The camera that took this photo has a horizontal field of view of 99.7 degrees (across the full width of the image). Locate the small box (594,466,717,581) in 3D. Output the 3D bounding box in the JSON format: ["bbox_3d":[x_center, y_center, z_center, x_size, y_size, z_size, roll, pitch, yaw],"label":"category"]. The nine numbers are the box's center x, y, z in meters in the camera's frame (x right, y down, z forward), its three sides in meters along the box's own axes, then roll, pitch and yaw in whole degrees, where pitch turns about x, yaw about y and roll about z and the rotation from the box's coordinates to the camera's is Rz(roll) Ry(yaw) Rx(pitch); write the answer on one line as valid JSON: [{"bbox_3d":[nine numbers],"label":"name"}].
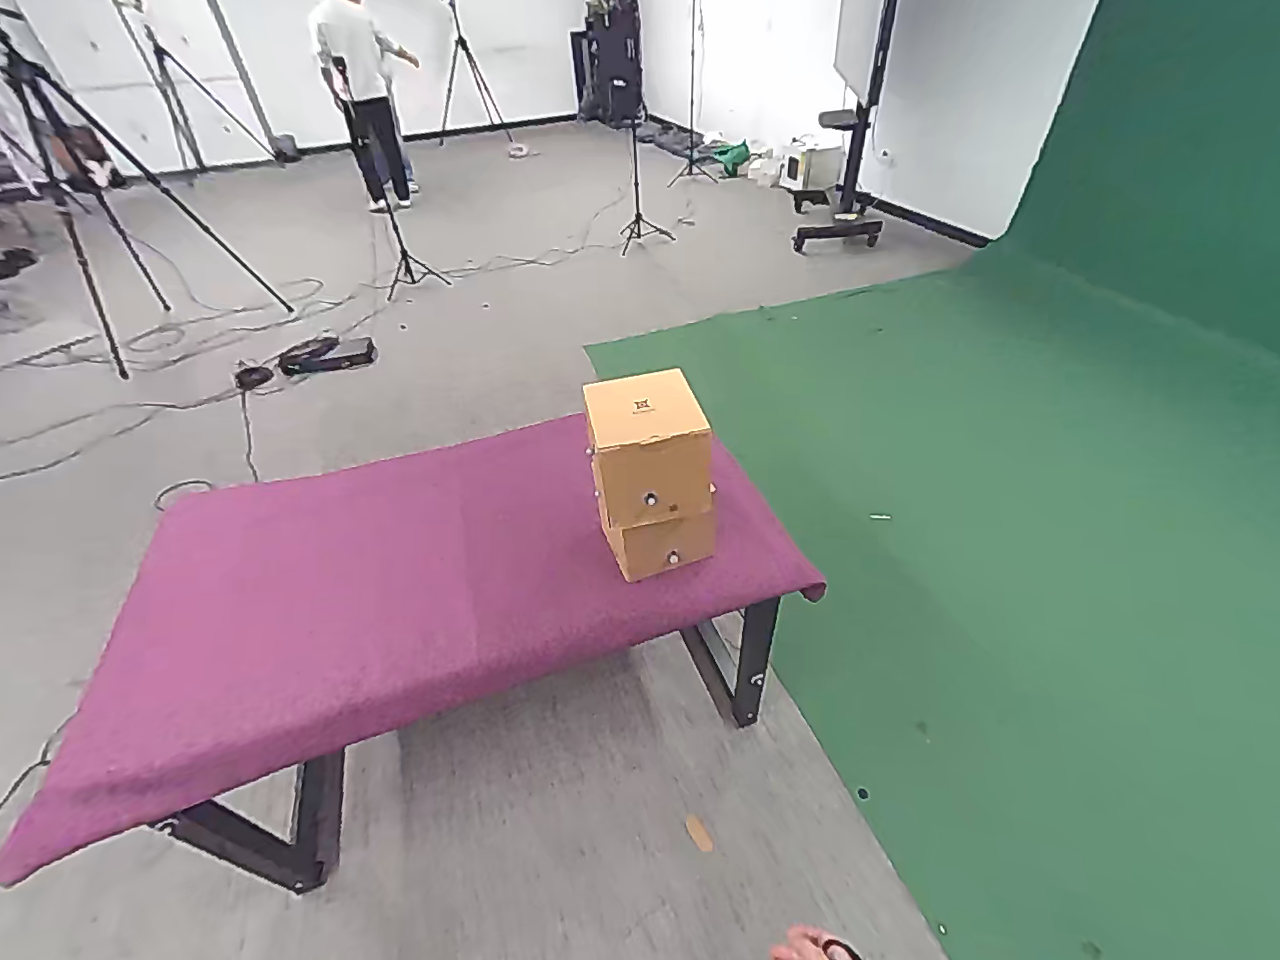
[{"bbox_3d":[0.026,0.055,0.994,0.179,0.176,0.168,-16,41,-12],"label":"small box"}]

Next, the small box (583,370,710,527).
[{"bbox_3d":[0.008,-0.052,0.869,0.168,0.176,0.179,-11,42,-6],"label":"small box"}]
